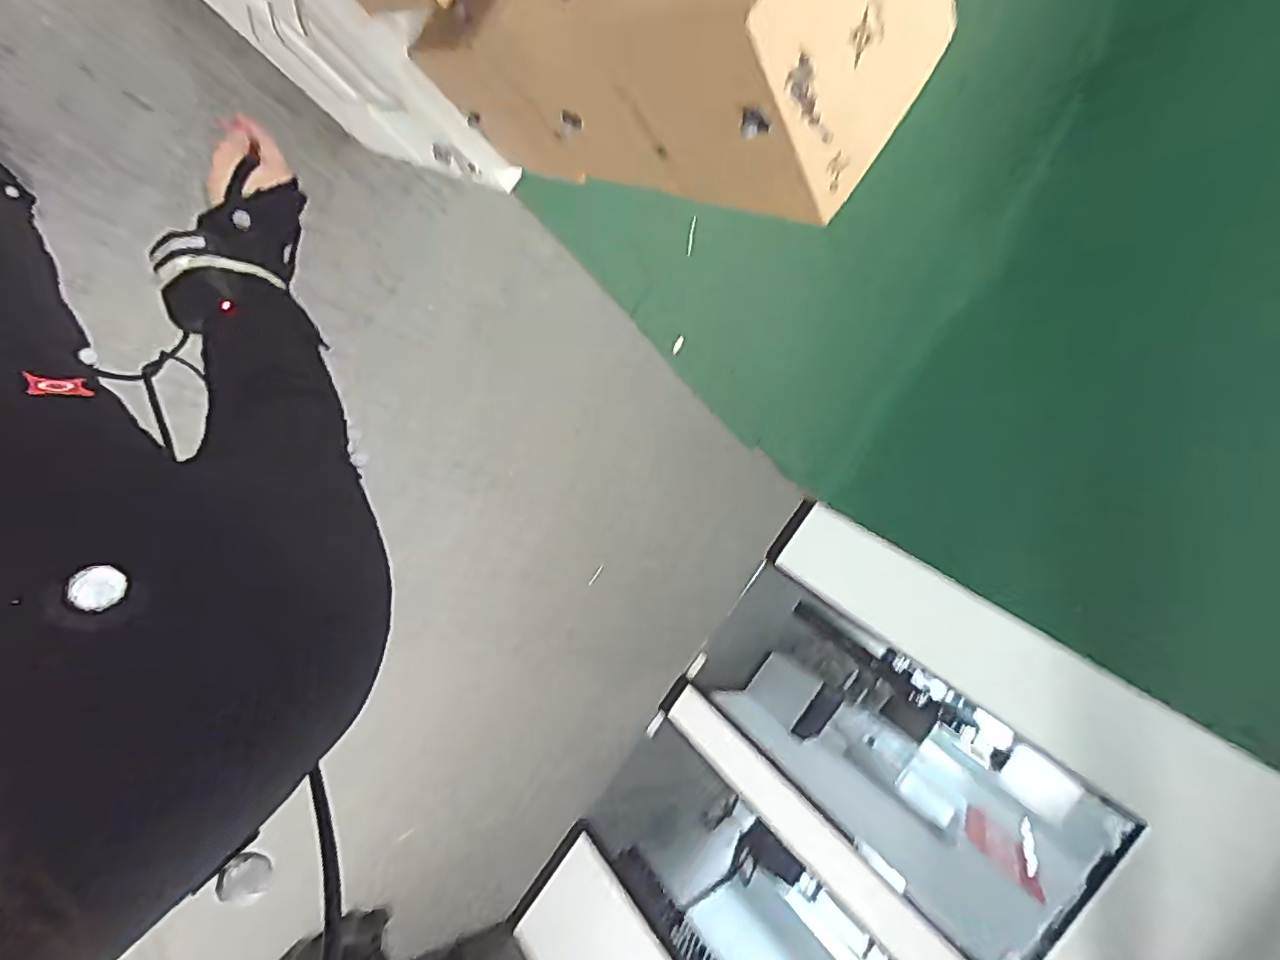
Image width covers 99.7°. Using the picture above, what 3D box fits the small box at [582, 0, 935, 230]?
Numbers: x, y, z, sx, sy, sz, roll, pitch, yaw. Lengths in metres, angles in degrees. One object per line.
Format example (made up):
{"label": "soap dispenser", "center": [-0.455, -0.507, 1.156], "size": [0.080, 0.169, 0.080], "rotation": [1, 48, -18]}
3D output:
{"label": "small box", "center": [0.089, -0.328, 0.405], "size": [0.179, 0.176, 0.168], "rotation": [-57, 143, 1]}
